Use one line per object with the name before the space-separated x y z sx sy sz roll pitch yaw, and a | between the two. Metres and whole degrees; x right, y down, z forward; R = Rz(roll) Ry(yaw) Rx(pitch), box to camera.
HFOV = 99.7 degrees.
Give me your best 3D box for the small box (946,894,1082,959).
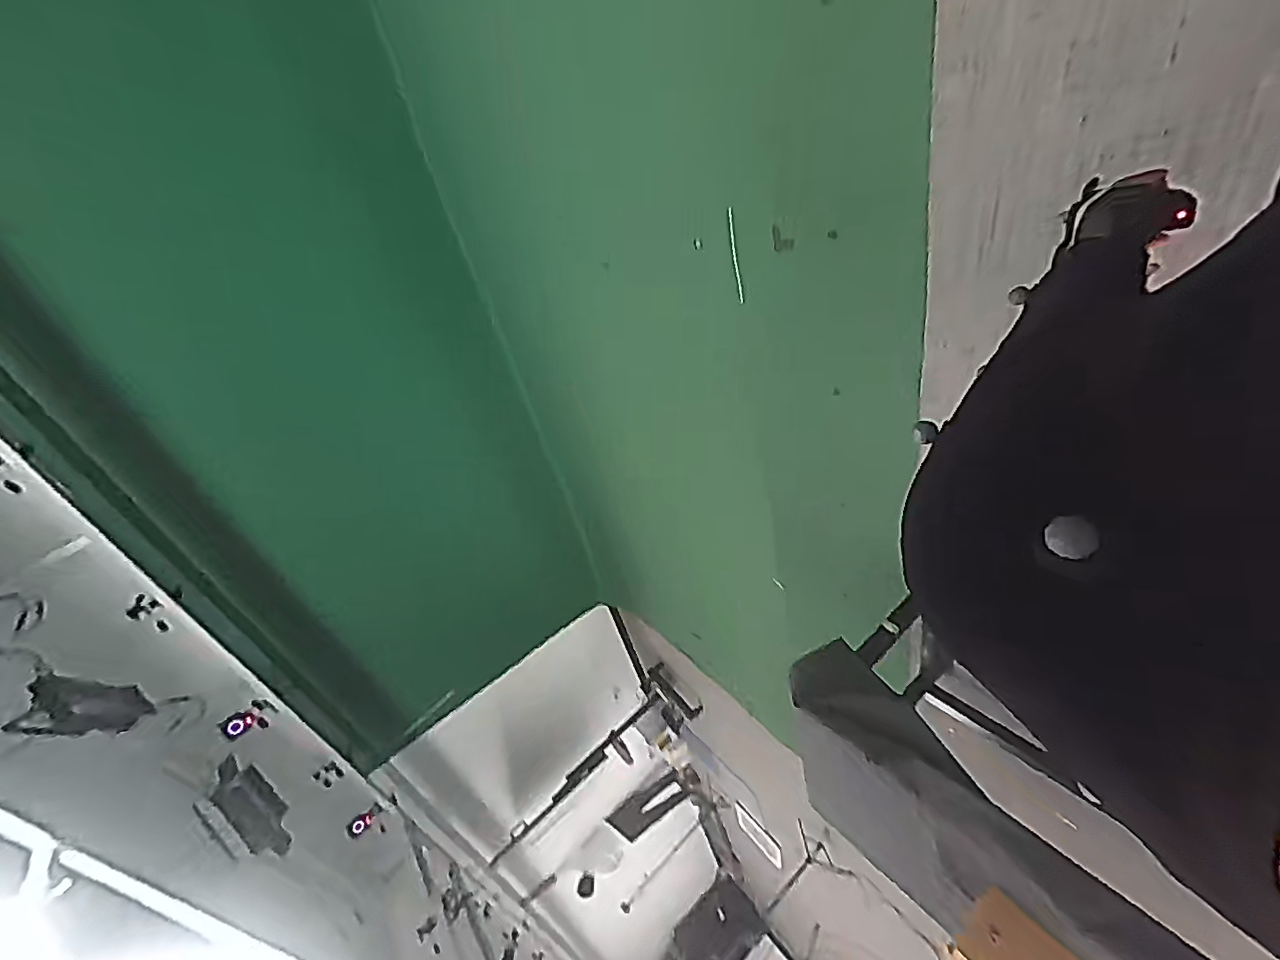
small box | 0.808 1.046 1.173 0.179 0.176 0.168 34 150 40
